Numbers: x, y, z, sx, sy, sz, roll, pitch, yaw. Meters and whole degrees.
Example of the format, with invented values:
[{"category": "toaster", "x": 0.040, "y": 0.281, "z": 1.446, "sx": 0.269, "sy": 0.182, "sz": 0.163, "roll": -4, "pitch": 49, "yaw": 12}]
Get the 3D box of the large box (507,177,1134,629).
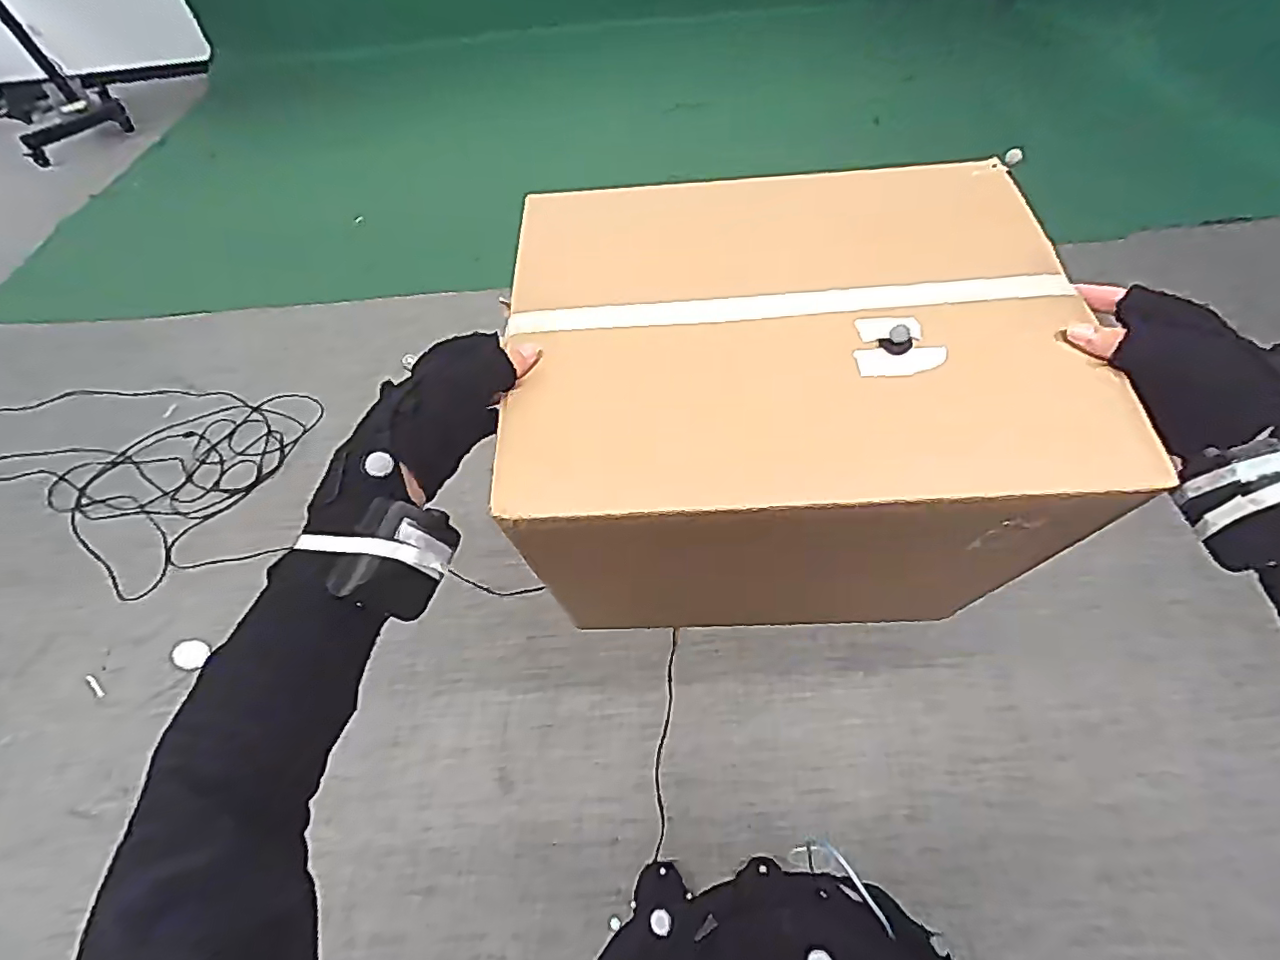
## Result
[{"category": "large box", "x": 0.112, "y": -0.048, "z": 0.541, "sx": 0.408, "sy": 0.320, "sz": 0.320, "roll": -3, "pitch": 63, "yaw": 3}]
